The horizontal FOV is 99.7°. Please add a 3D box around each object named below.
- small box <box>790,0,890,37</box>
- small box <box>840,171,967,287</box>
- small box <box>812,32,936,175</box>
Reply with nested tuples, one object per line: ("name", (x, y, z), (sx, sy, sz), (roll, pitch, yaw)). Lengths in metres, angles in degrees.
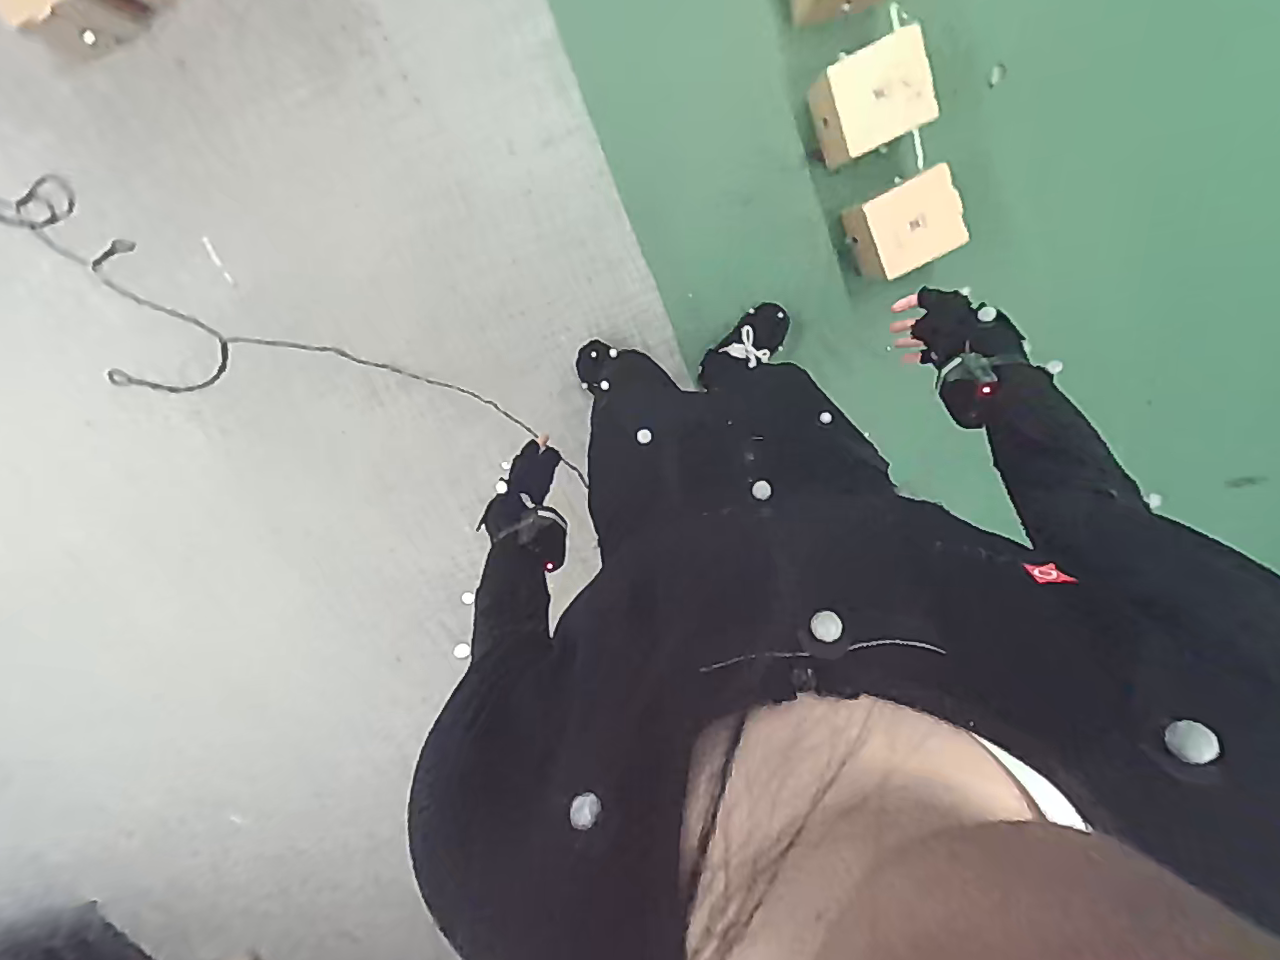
("small box", (0.388, -0.986, 1.024), (0.179, 0.176, 0.168), (-9, 110, 7))
("small box", (0.570, -0.543, 1.187), (0.179, 0.176, 0.168), (-25, 108, 11))
("small box", (0.466, -0.754, 1.108), (0.179, 0.176, 0.168), (-21, 109, 10))
